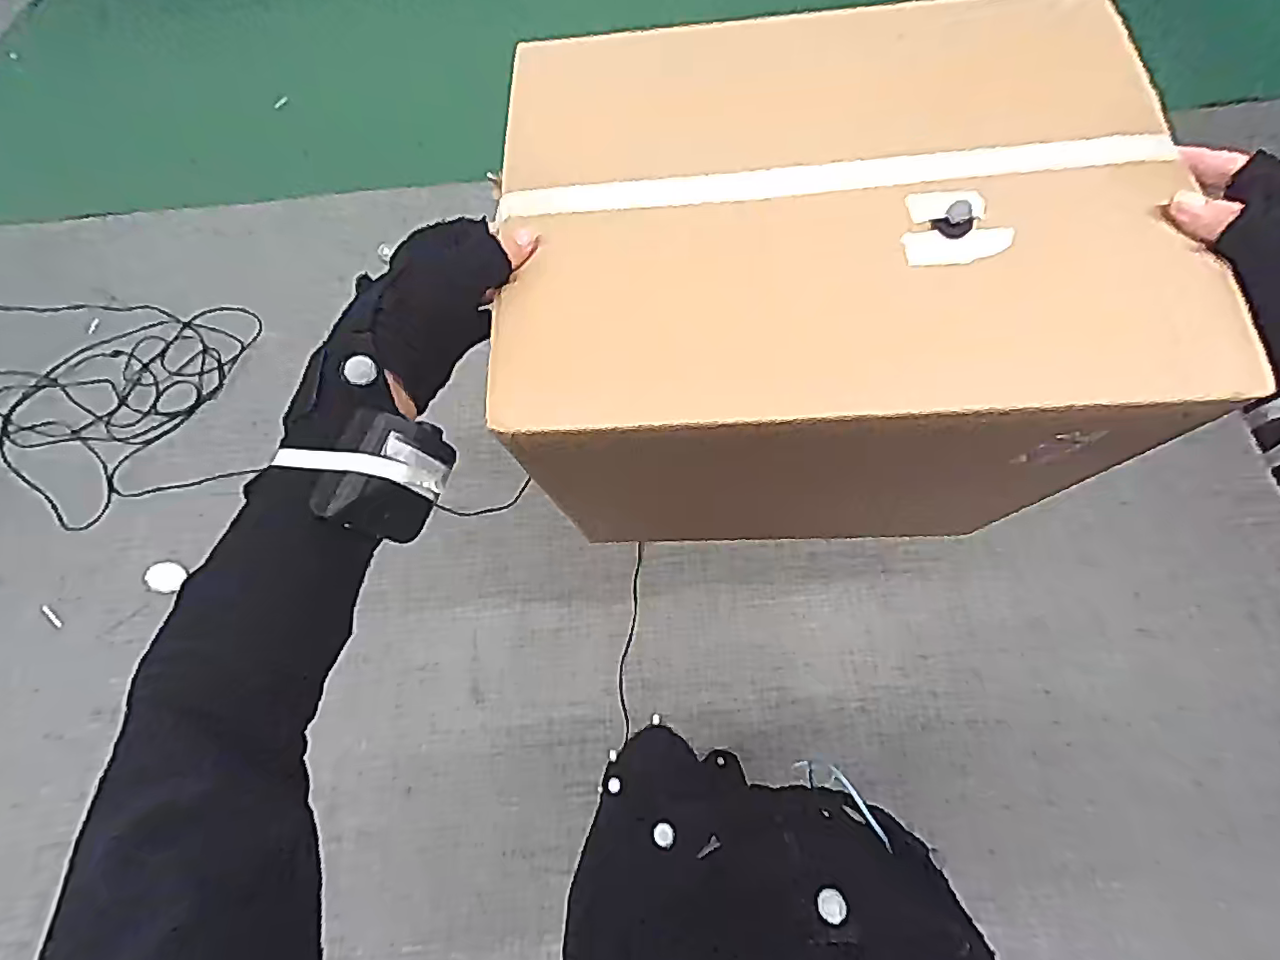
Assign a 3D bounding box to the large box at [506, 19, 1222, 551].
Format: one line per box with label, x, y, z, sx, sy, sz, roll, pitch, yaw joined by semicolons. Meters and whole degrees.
large box;0.124;-0.125;0.493;0.408;0.320;0.320;-3;72;5
